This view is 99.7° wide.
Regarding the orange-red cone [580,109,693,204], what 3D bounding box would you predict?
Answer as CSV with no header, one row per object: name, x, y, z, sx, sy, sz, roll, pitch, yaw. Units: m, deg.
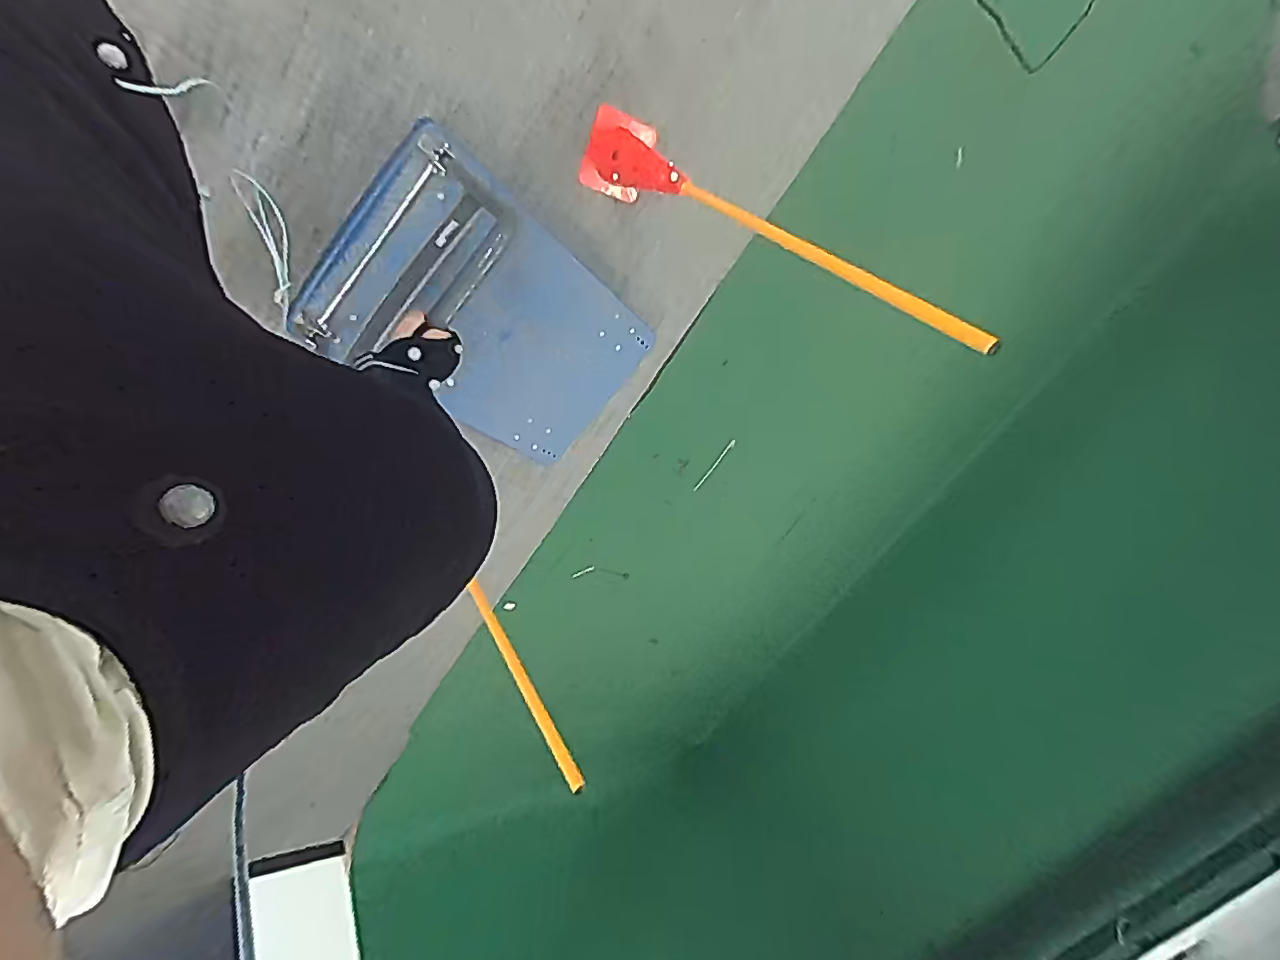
orange-red cone,0.023,-0.808,1.417,0.198,0.360,0.199,1,124,-39
